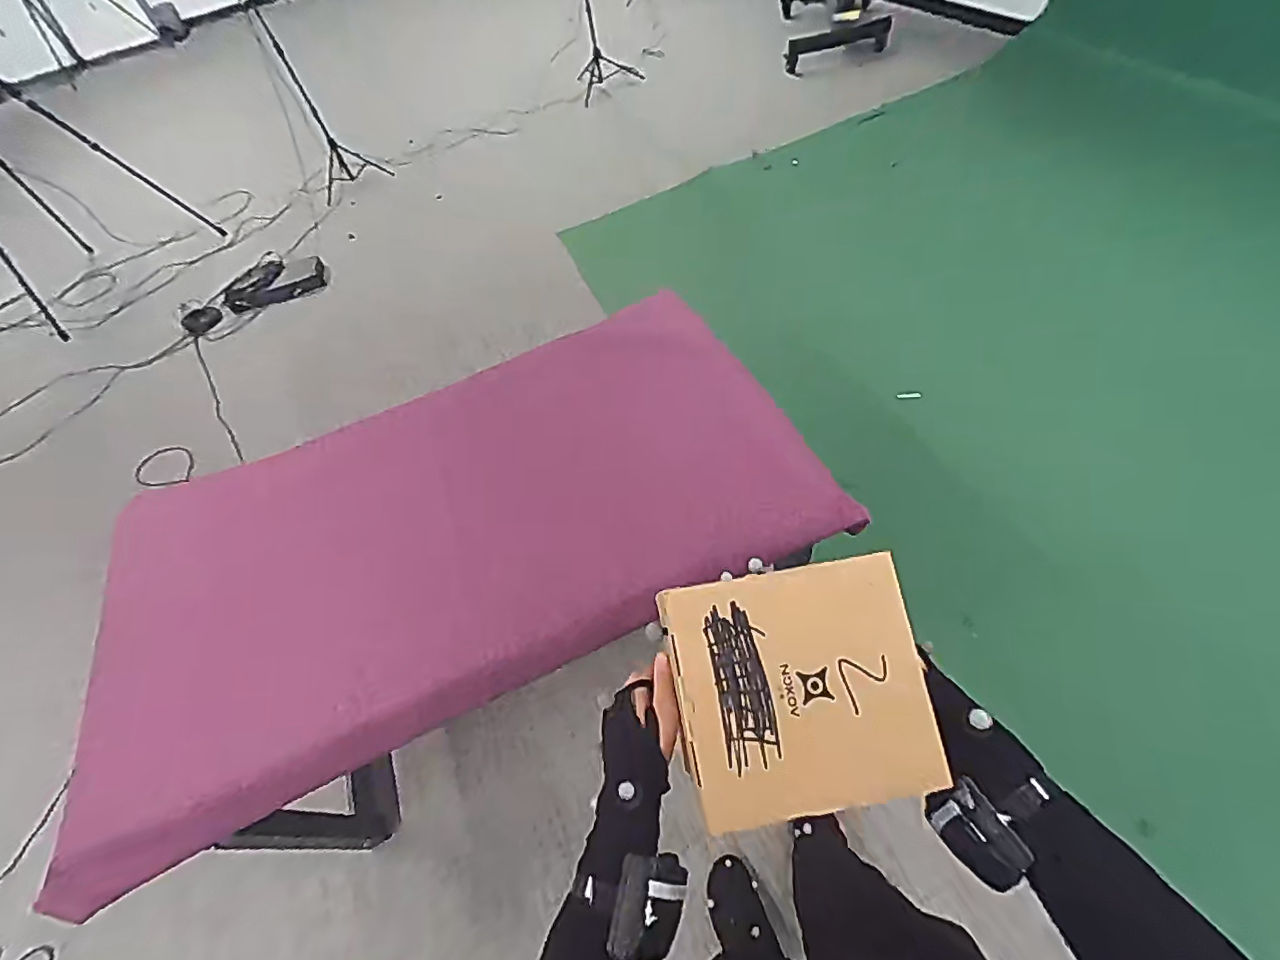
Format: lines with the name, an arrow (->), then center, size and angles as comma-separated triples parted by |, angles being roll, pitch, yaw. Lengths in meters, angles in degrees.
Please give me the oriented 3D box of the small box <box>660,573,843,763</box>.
small box -> 0.113, 0.206, 0.627 | 0.168, 0.176, 0.179 | -5, 76, -2
